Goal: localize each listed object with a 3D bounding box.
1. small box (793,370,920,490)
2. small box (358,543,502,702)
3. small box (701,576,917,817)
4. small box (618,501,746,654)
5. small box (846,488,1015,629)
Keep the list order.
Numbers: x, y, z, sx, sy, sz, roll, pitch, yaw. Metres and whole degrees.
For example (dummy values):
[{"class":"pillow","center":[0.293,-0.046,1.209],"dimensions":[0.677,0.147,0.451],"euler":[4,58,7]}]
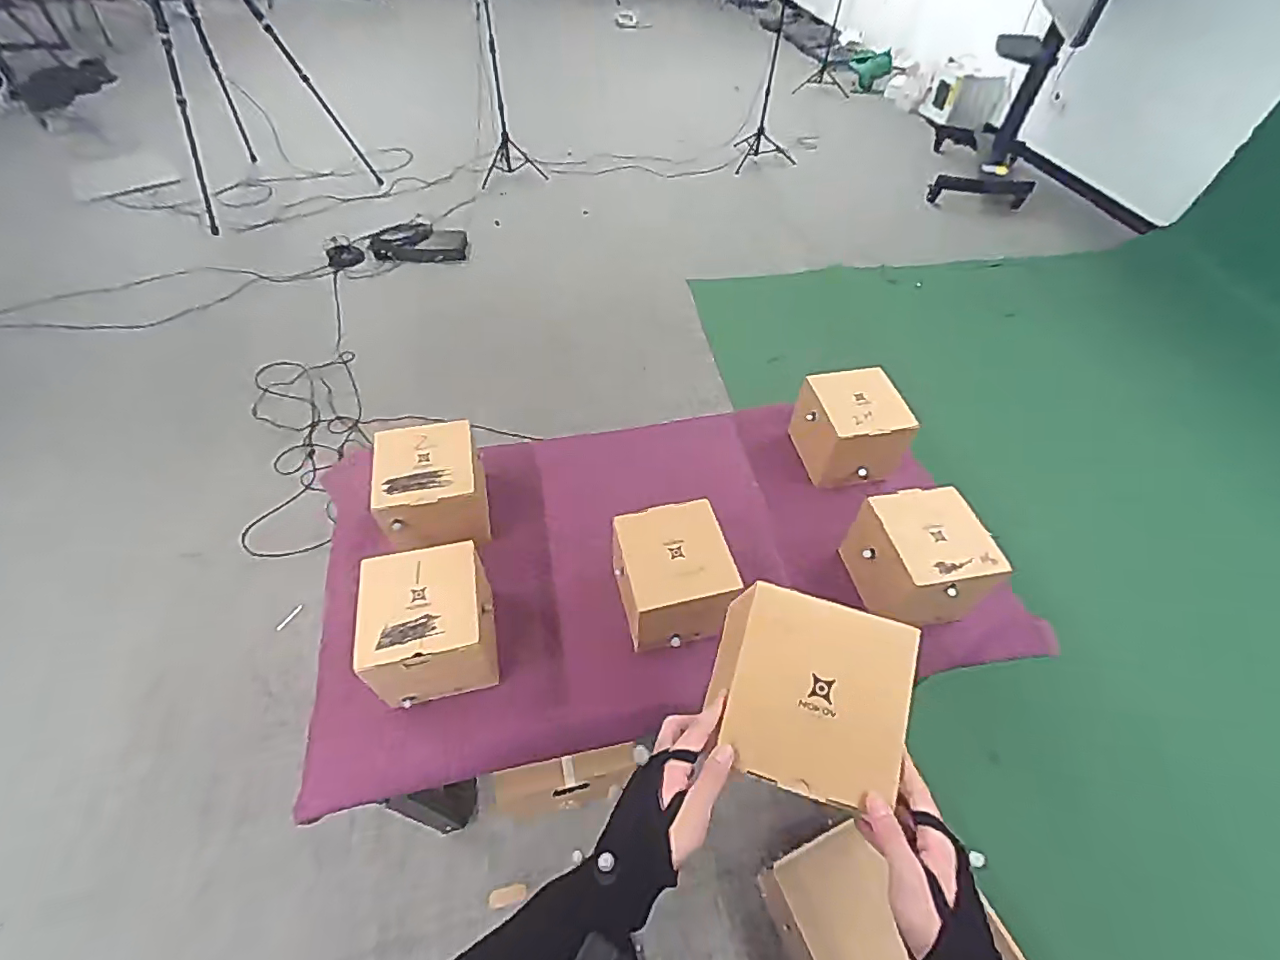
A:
[{"class":"small box","center":[0.439,-0.103,1.131],"dimensions":[0.168,0.176,0.179],"euler":[-8,53,-6]},{"class":"small box","center":[-0.315,0.227,0.838],"dimensions":[0.168,0.176,0.179],"euler":[-9,50,-10]},{"class":"small box","center":[0.168,0.221,0.584],"dimensions":[0.168,0.176,0.179],"euler":[16,73,6]},{"class":"small box","center":[0.059,0.164,0.905],"dimensions":[0.168,0.176,0.179],"euler":[-11,51,-9]},{"class":"small box","center":[0.484,0.140,0.937],"dimensions":[0.168,0.176,0.179],"euler":[-8,49,-6]}]
